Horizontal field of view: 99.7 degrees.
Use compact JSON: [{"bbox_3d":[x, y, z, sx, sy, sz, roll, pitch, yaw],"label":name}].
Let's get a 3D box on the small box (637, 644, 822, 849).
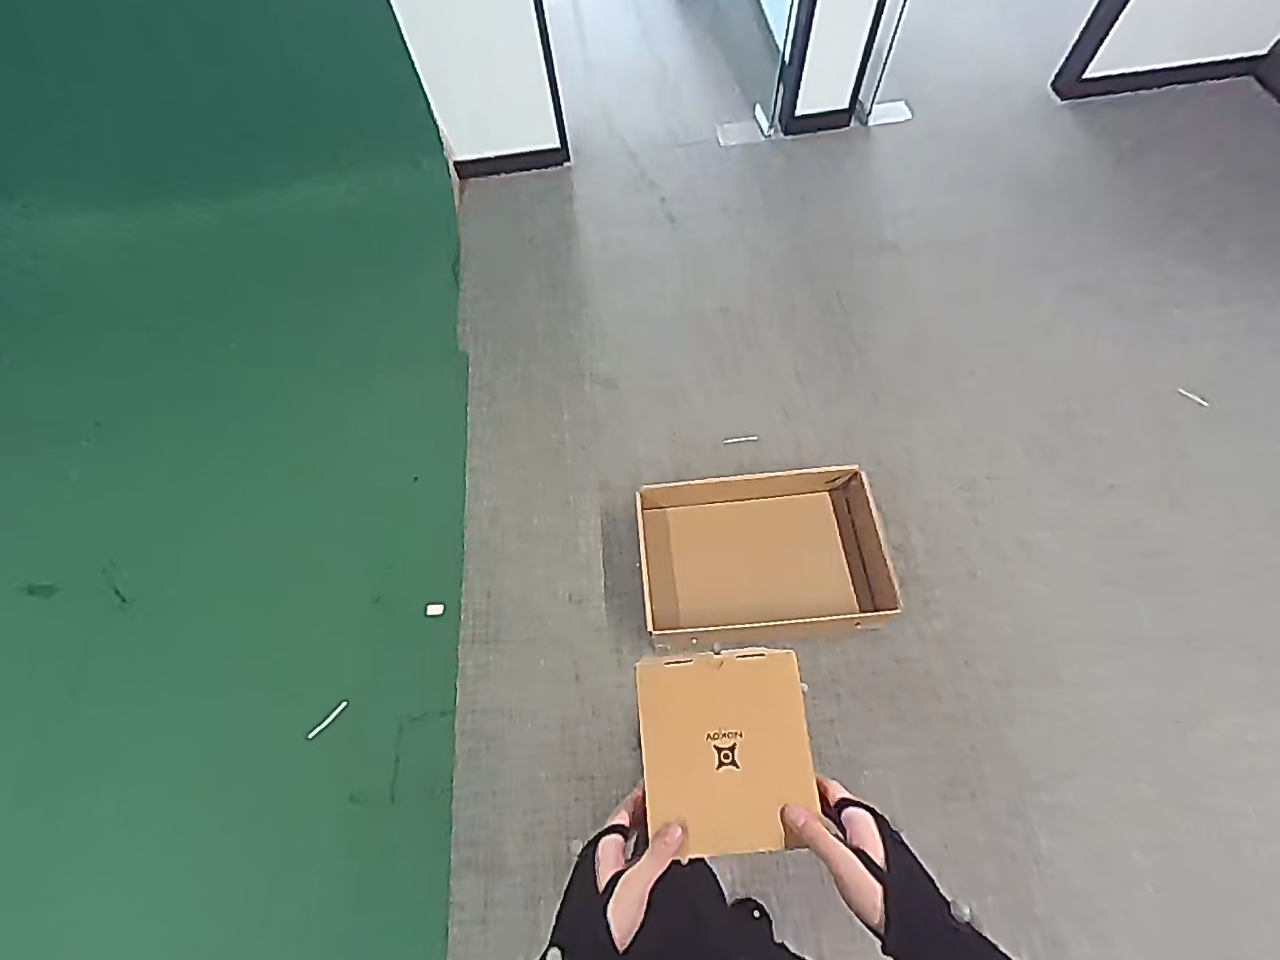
[{"bbox_3d":[0.088,0.278,0.600,0.168,0.176,0.179,-5,72,2],"label":"small box"}]
